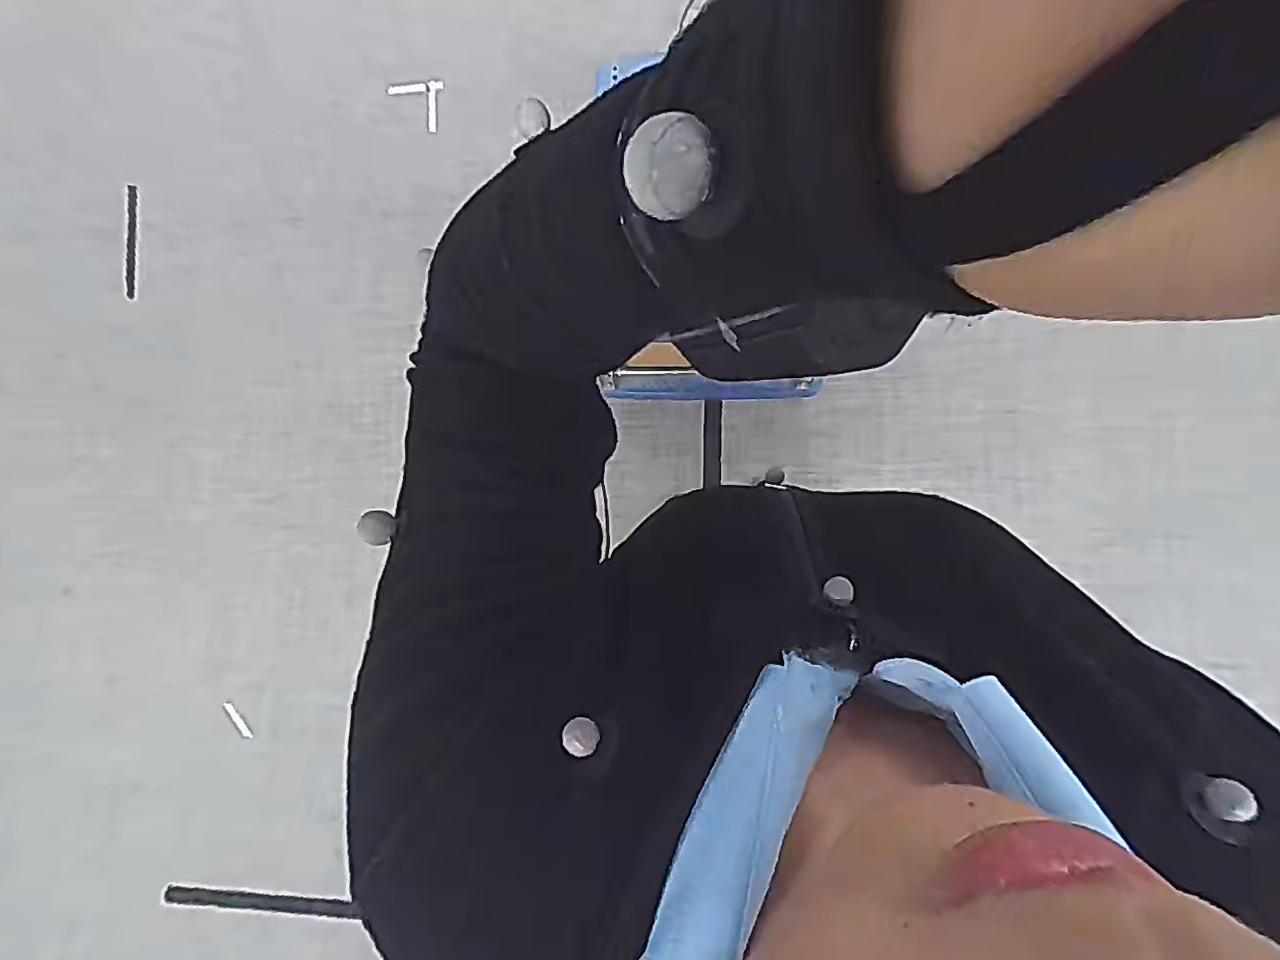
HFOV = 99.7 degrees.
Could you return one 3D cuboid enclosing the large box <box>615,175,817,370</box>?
[{"bbox_3d":[0.158,-0.443,1.225,0.408,0.320,0.320,0,88,5],"label":"large box"}]
